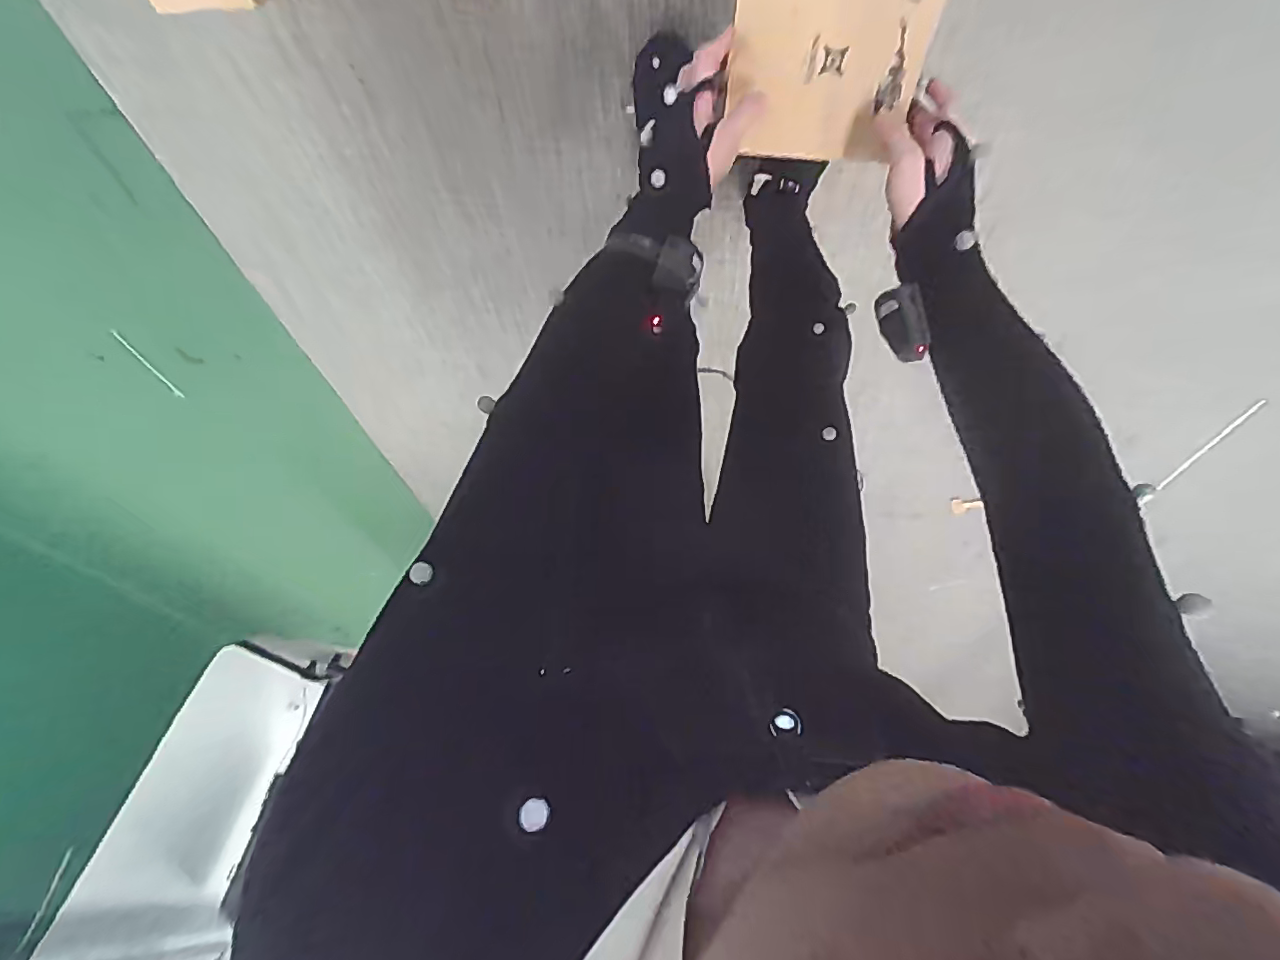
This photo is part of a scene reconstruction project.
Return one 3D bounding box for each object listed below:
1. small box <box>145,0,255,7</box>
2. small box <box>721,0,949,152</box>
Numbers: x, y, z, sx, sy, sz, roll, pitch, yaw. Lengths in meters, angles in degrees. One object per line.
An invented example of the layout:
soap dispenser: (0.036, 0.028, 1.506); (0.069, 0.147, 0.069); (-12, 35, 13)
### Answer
small box: (-0.635, -0.805, 0.768); (0.179, 0.176, 0.168); (5, 144, 9)
small box: (0.184, -0.446, 0.523); (0.179, 0.176, 0.168); (10, 142, 7)
